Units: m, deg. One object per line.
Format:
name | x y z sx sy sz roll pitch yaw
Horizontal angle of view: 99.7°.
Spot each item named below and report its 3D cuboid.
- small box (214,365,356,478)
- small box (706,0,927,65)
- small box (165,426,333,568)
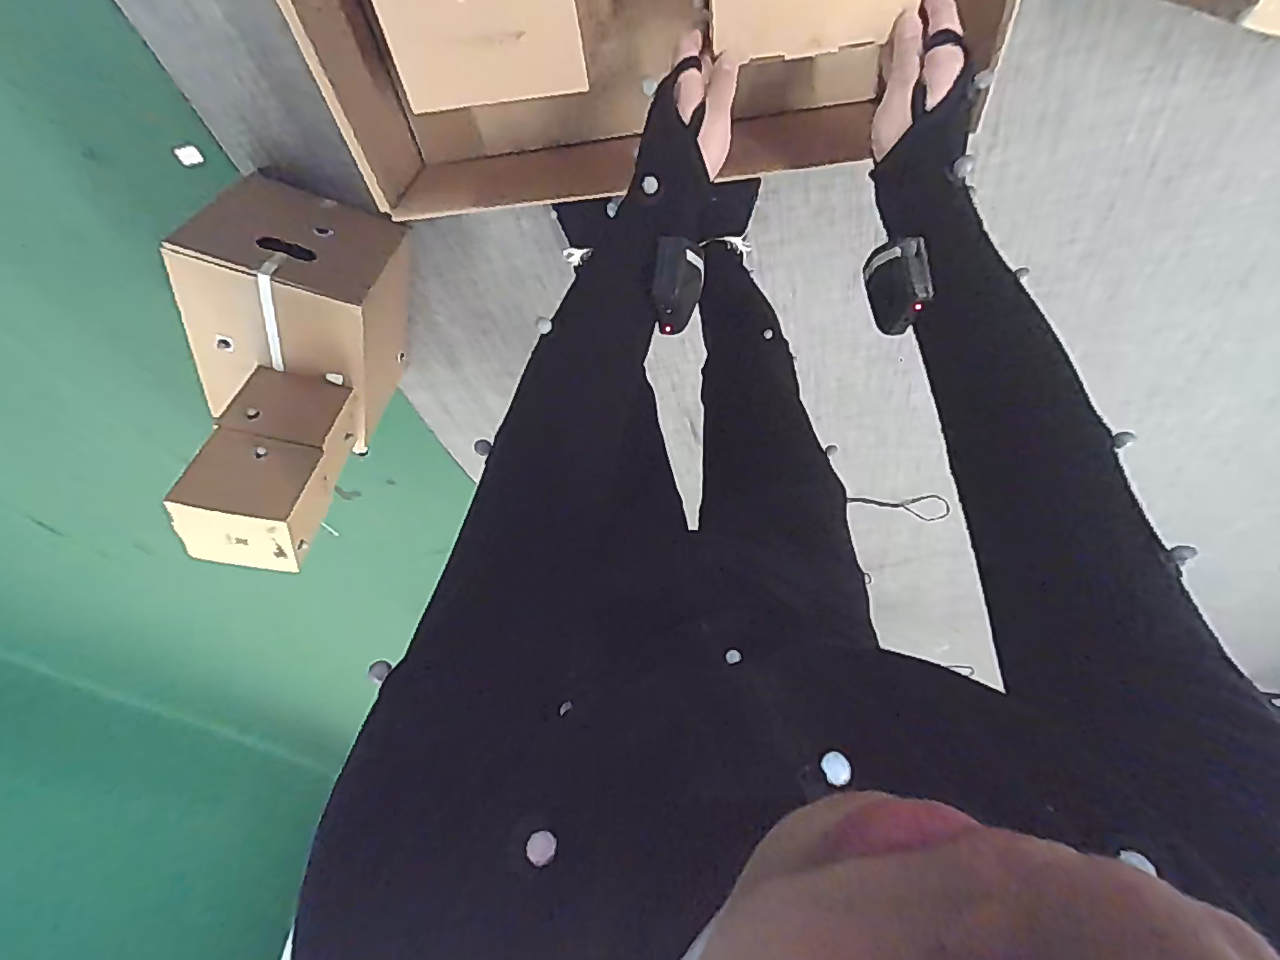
small box | -0.678 -0.099 1.057 0.179 0.176 0.168 13 138 -16
small box | 0.138 -0.473 0.434 0.168 0.176 0.179 -4 143 5
small box | -0.670 0.028 0.953 0.179 0.176 0.168 14 138 -14
